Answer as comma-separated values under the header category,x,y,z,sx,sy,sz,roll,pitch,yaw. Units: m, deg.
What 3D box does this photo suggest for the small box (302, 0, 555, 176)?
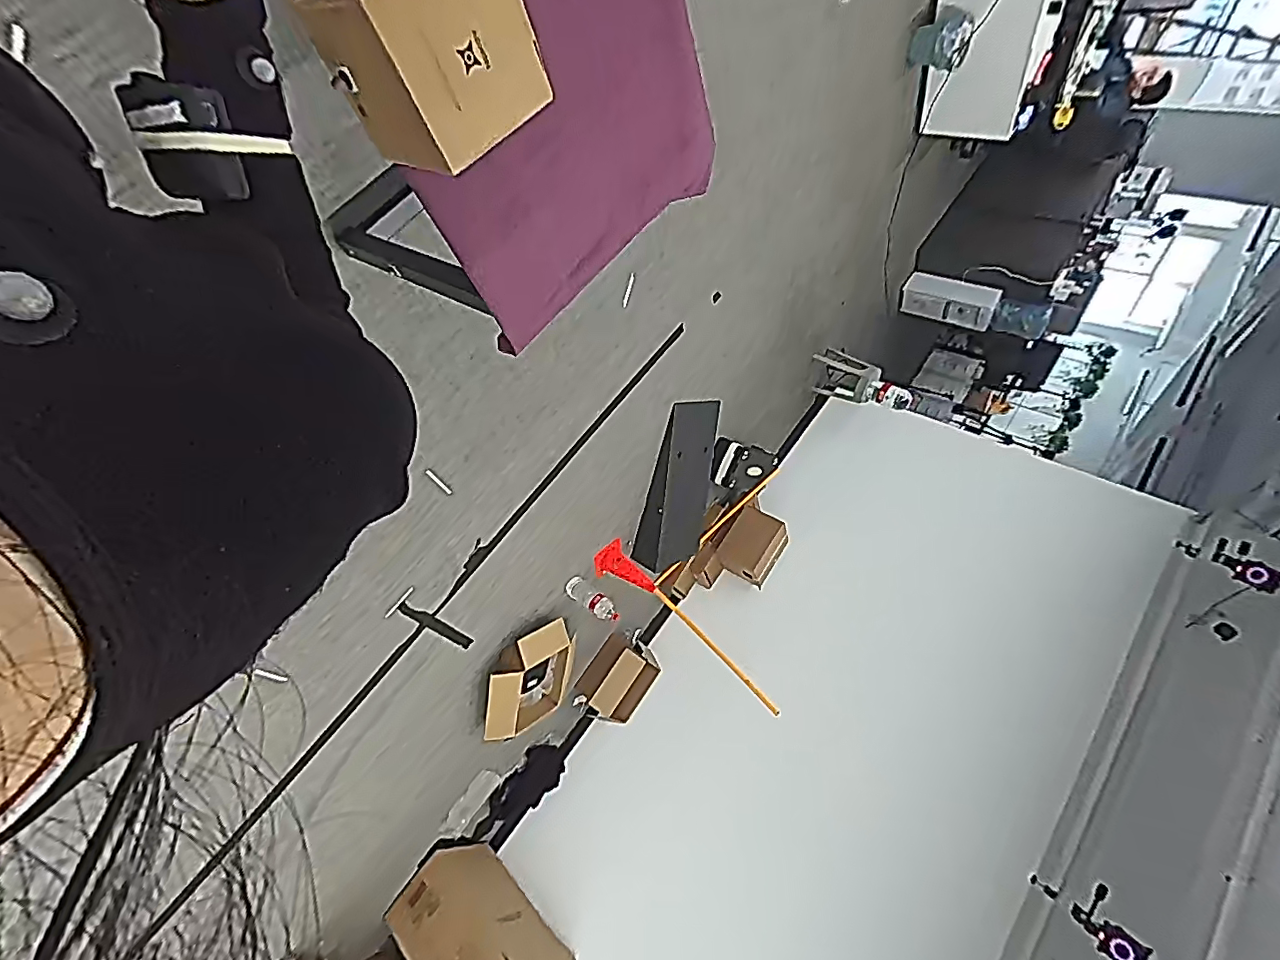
category,x,y,z,sx,sy,sz,roll,pitch,yaw
small box,-0.236,-0.486,0.621,0.179,0.176,0.168,-49,146,-16
